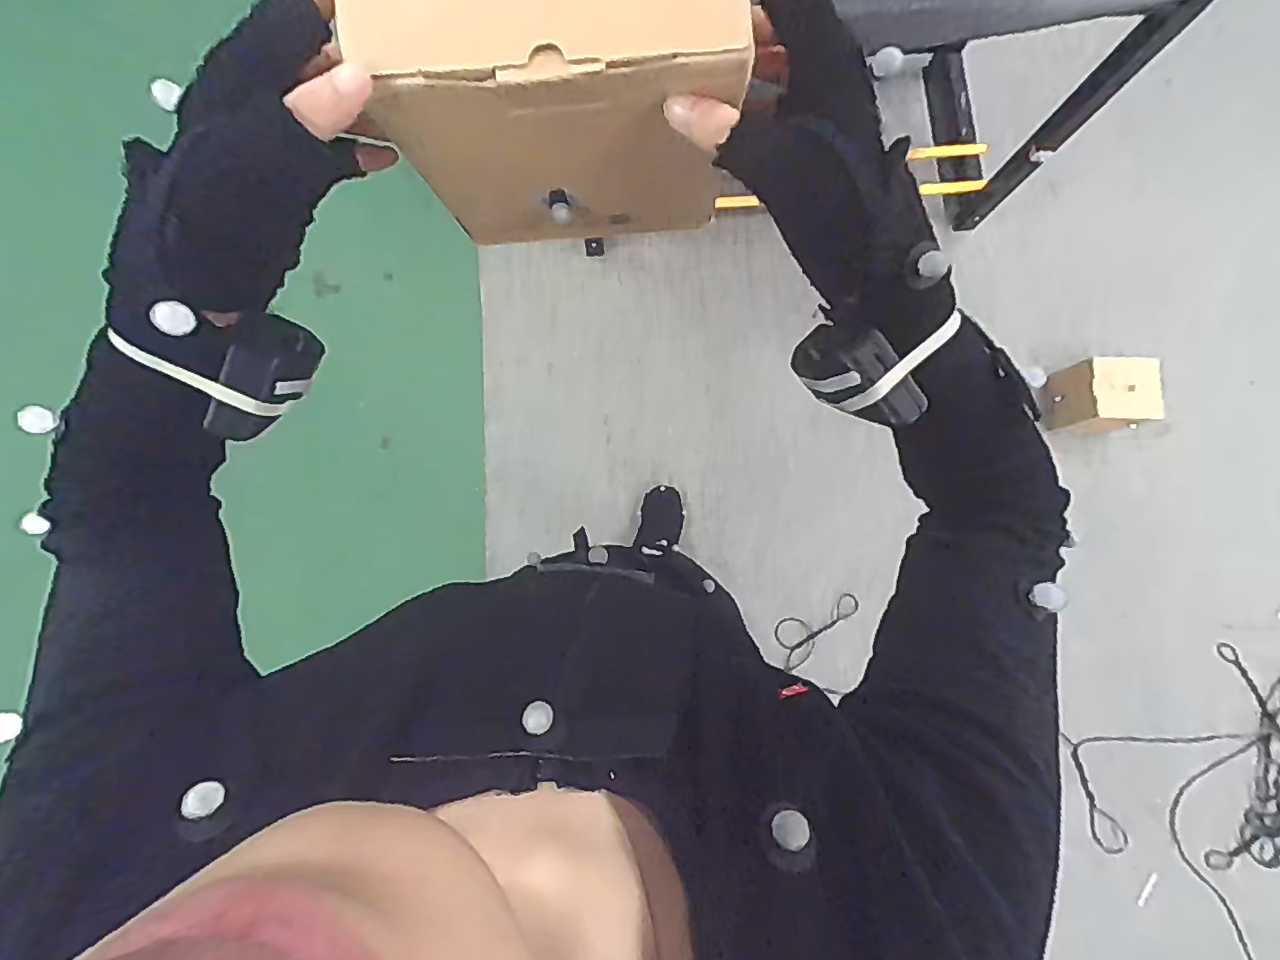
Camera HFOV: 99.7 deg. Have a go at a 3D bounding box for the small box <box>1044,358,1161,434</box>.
[{"bbox_3d":[1.258,-0.225,1.479,0.179,0.176,0.168,2,82,0],"label":"small box"}]
